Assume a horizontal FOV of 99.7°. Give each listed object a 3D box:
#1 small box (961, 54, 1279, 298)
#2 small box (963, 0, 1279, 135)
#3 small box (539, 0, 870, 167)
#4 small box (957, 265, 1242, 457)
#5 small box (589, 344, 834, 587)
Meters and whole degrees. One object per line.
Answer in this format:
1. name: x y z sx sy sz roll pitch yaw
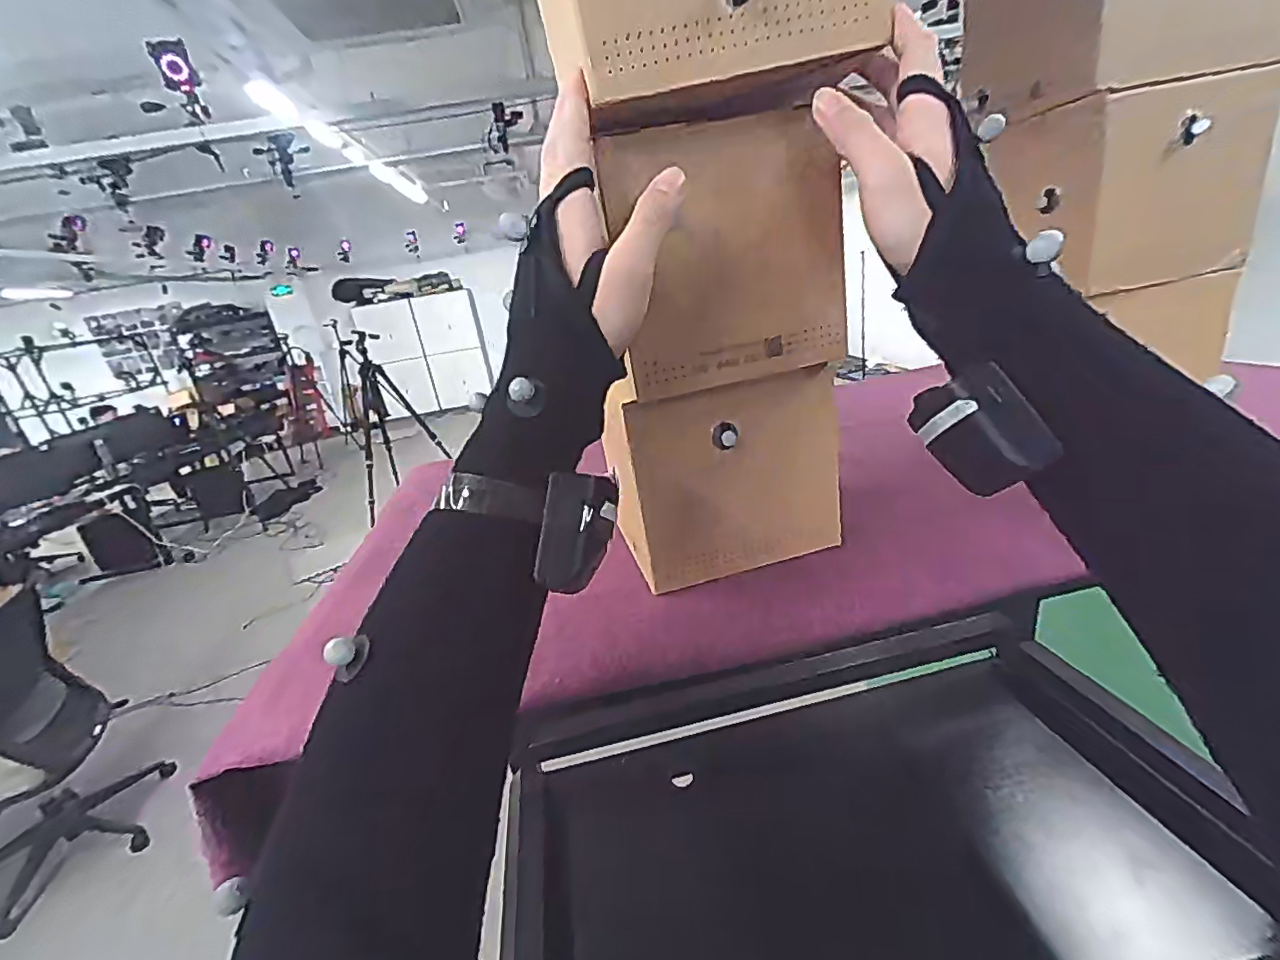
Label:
1. small box: 0.456 -0.280 0.540 0.179 0.176 0.168 -12 20 -5
2. small box: 0.430 -0.436 0.495 0.179 0.176 0.168 -11 20 -4
3. small box: 0.027 -0.317 0.340 0.179 0.176 0.168 -15 19 -4
4. small box: 0.486 -0.132 0.602 0.168 0.176 0.179 -11 19 -2
5. small box: 0.062 -0.022 0.504 0.179 0.176 0.168 -13 21 -9
